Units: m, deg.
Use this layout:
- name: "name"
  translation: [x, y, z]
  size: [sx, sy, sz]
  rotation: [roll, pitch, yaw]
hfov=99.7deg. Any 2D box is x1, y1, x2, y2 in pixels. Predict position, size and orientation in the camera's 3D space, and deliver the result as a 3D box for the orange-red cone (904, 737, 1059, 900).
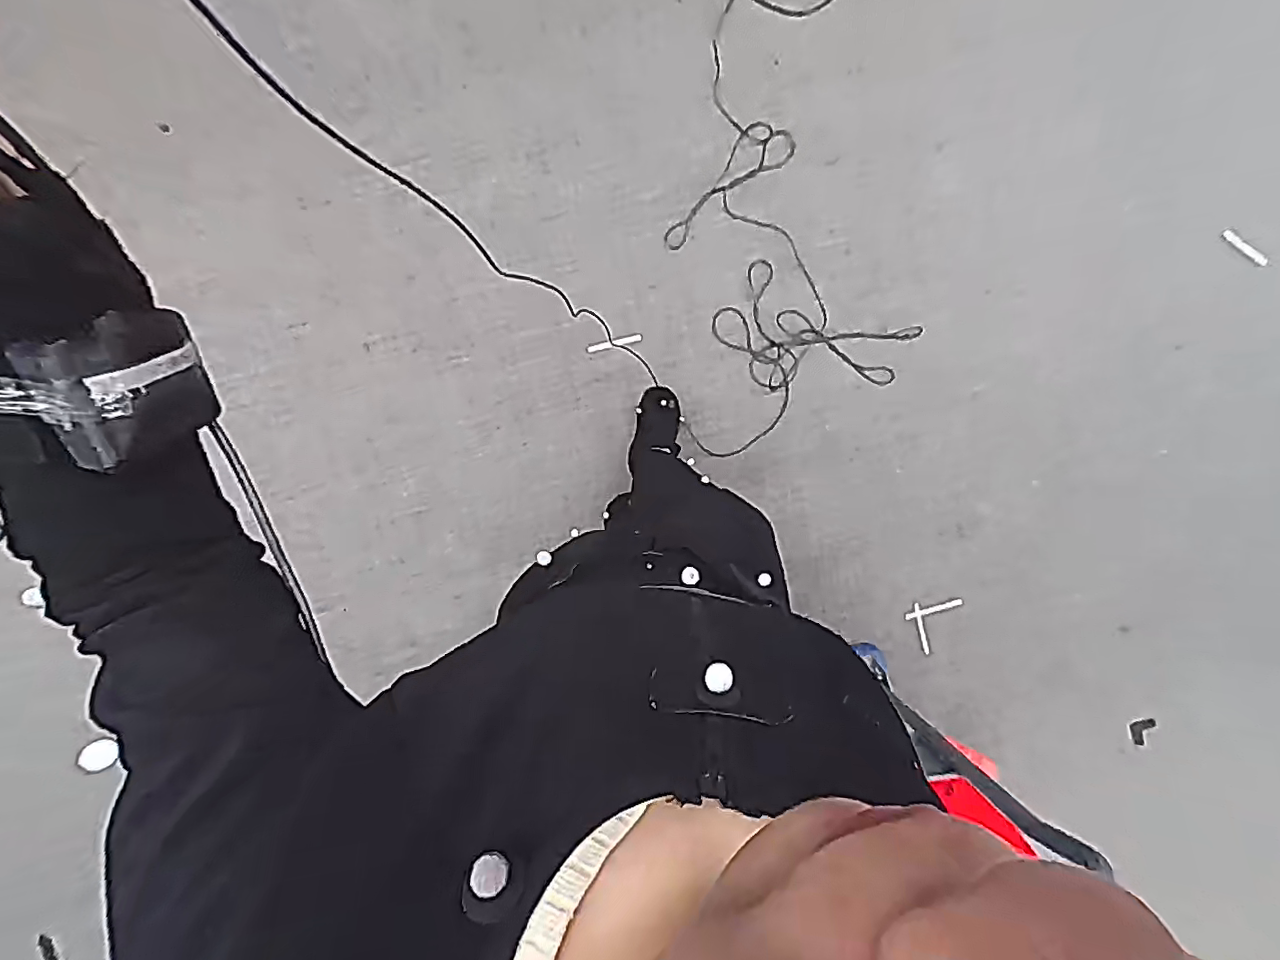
- name: "orange-red cone"
  translation: [0.821, 0.811, 1.255]
  size: [0.198, 0.360, 0.199]
  rotation: [31, 94, -2]
